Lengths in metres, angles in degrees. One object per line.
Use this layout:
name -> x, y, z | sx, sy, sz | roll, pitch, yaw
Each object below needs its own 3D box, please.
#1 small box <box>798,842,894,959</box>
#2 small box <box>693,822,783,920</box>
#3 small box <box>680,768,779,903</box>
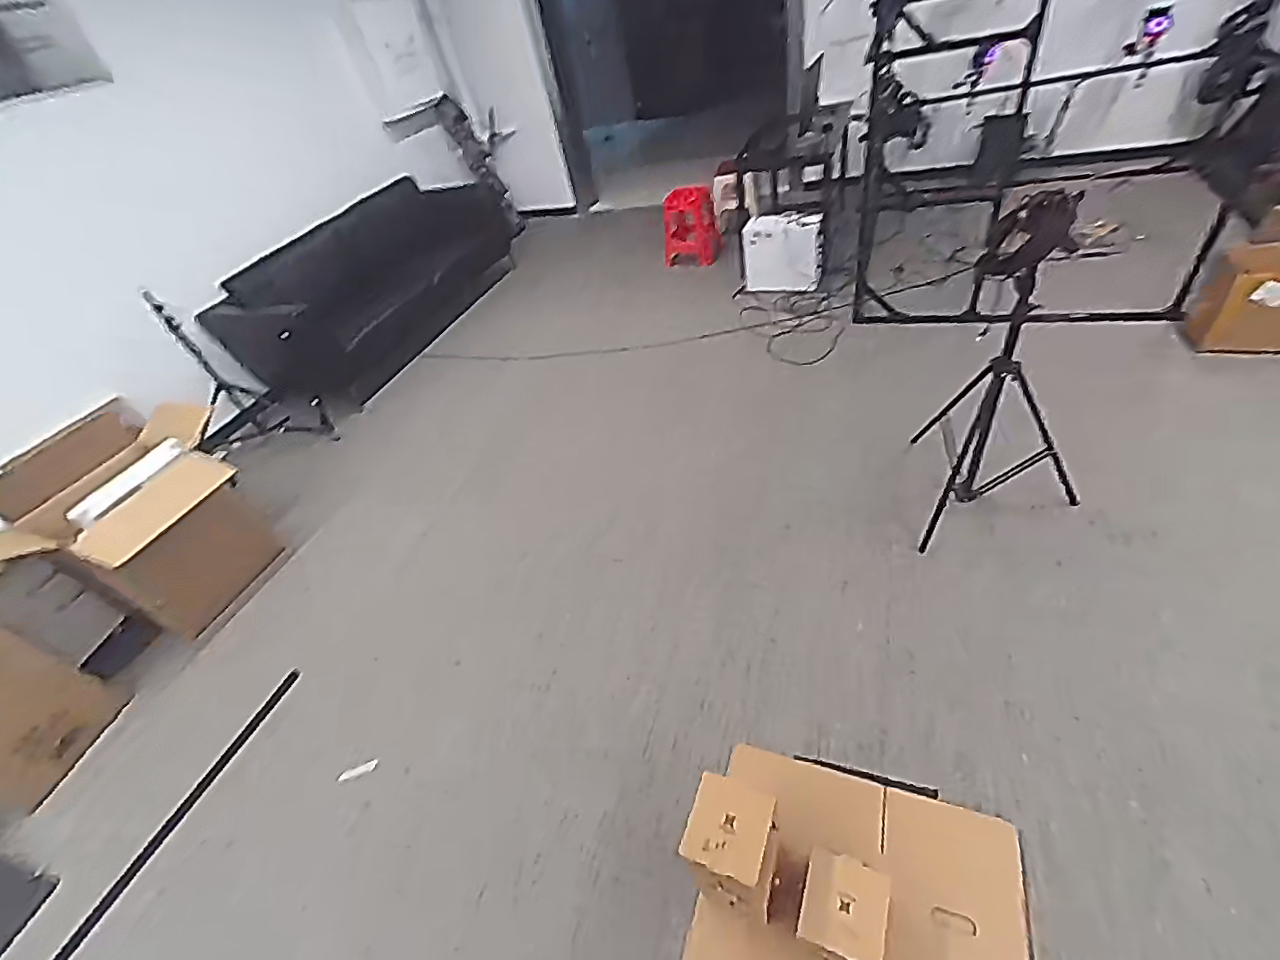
small box -> 0.443, 0.940, 1.178 | 0.168, 0.176, 0.179 | 10, 47, 25
small box -> 0.241, 0.899, 1.281 | 0.168, 0.176, 0.179 | 8, 47, 25
small box -> 0.202, 0.774, 1.179 | 0.168, 0.176, 0.179 | 8, 47, 26
